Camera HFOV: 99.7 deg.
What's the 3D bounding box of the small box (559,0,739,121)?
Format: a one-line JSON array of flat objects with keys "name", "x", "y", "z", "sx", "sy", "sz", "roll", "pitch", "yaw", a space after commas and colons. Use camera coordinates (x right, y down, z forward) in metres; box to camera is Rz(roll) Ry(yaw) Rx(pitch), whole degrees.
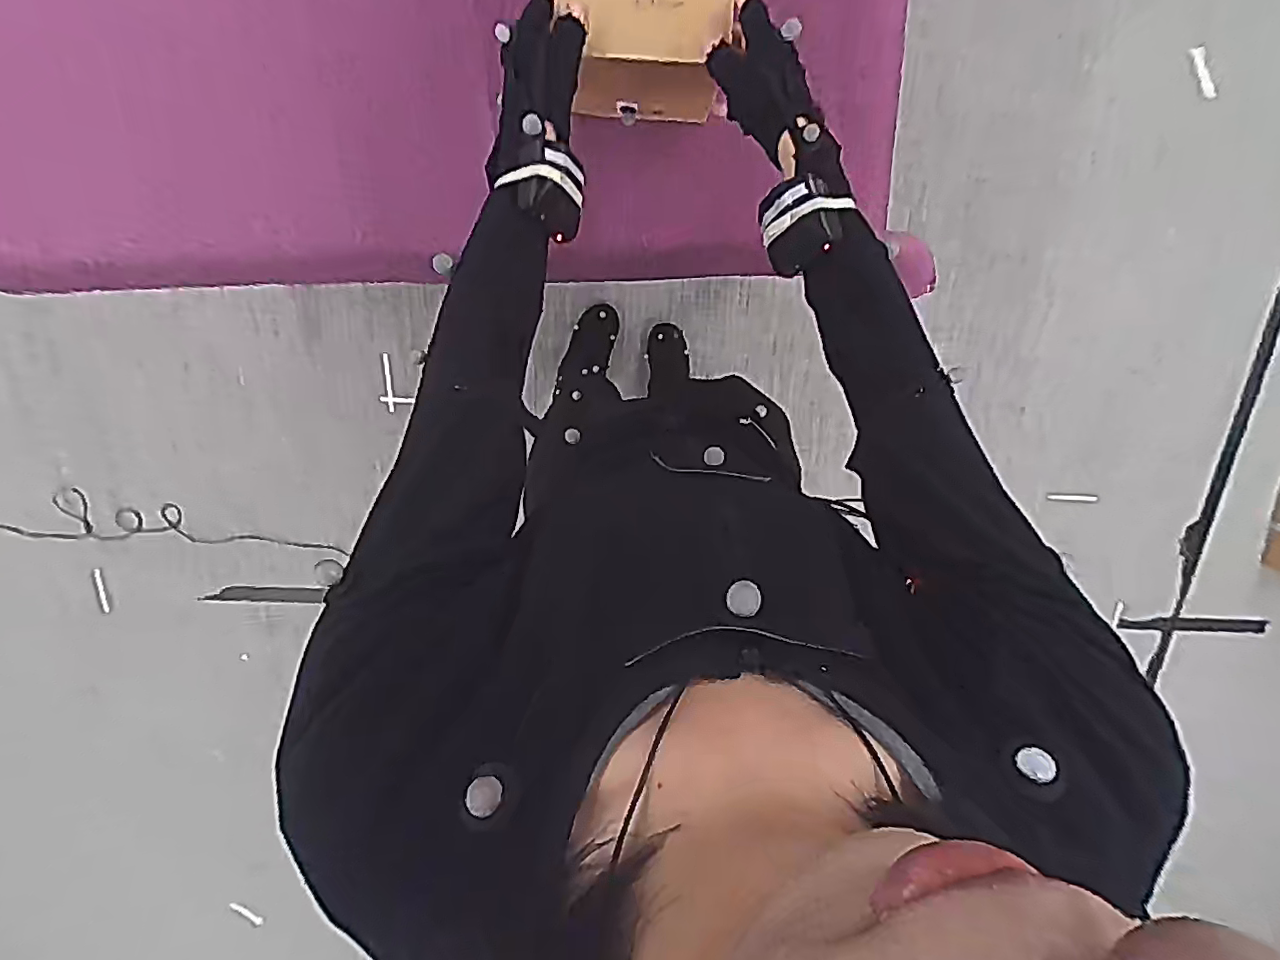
[{"name": "small box", "x": 0.009, "y": -0.497, "z": 0.550, "sx": 0.168, "sy": 0.176, "sz": 0.179, "roll": 2, "pitch": 108, "yaw": -1}]
